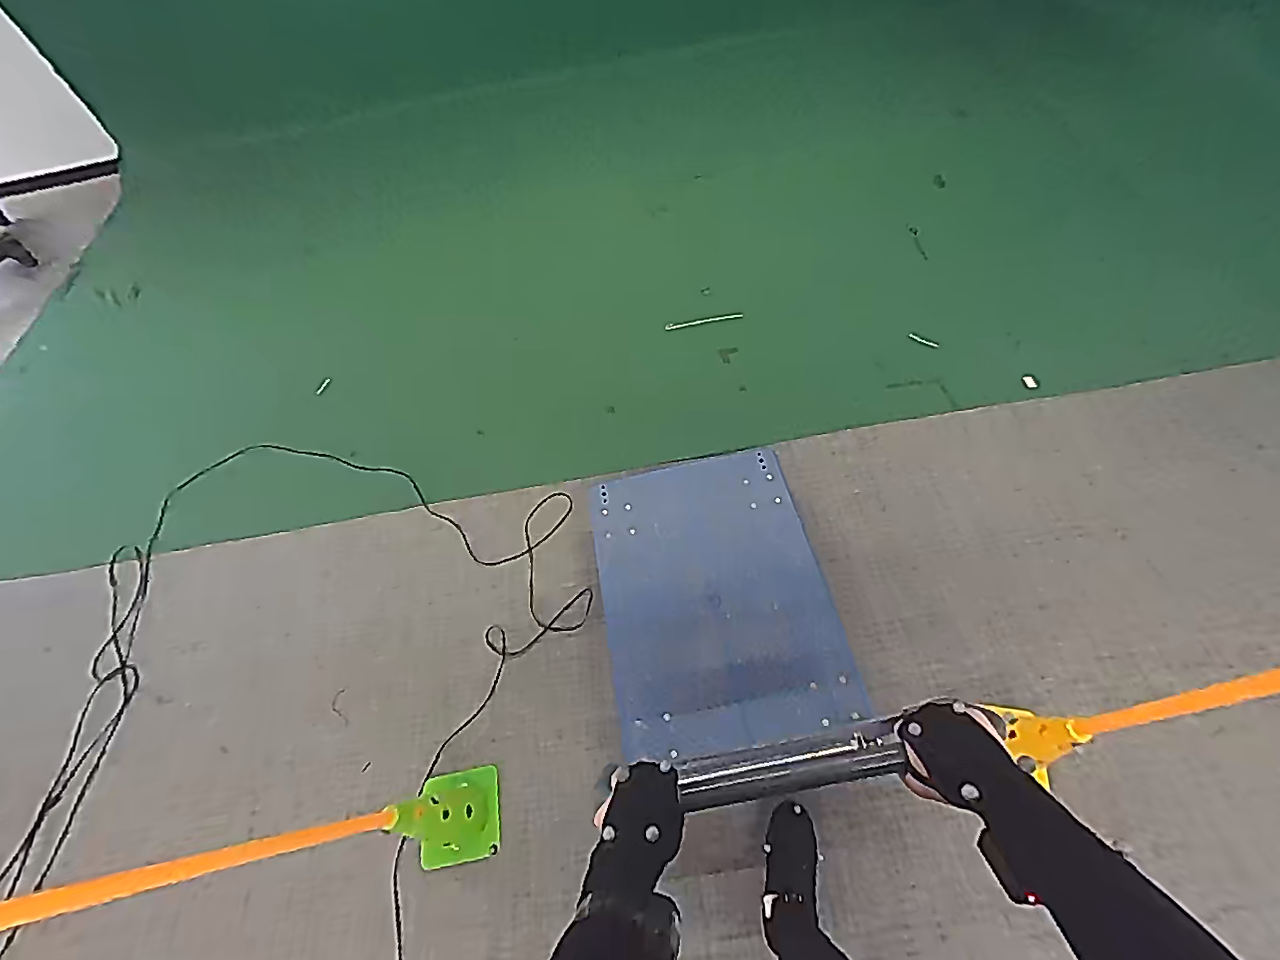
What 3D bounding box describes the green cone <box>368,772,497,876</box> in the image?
[{"bbox_3d":[-0.483,0.765,1.209,0.202,0.368,0.200,-14,57,2],"label":"green cone"}]
